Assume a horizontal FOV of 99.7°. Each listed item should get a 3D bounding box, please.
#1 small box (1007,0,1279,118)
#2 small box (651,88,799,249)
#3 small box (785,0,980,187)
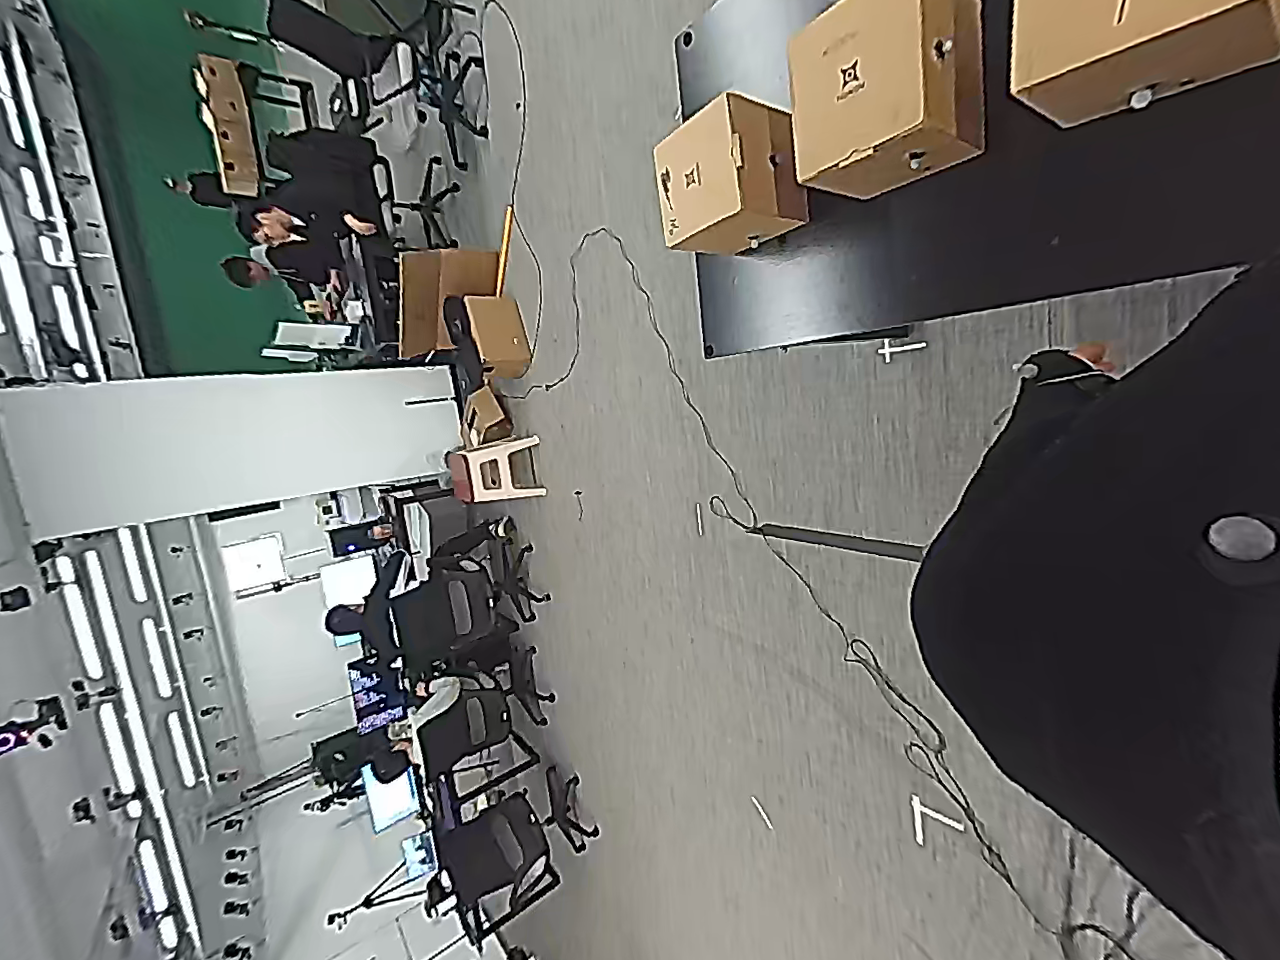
[{"bbox_3d":[0.457,-0.463,0.481,0.168,0.176,0.179,11,109,52],"label":"small box"},{"bbox_3d":[0.144,-0.492,0.886,0.179,0.176,0.168,1,101,52],"label":"small box"},{"bbox_3d":[0.305,-0.489,0.678,0.168,0.176,0.179,3,102,52],"label":"small box"}]
